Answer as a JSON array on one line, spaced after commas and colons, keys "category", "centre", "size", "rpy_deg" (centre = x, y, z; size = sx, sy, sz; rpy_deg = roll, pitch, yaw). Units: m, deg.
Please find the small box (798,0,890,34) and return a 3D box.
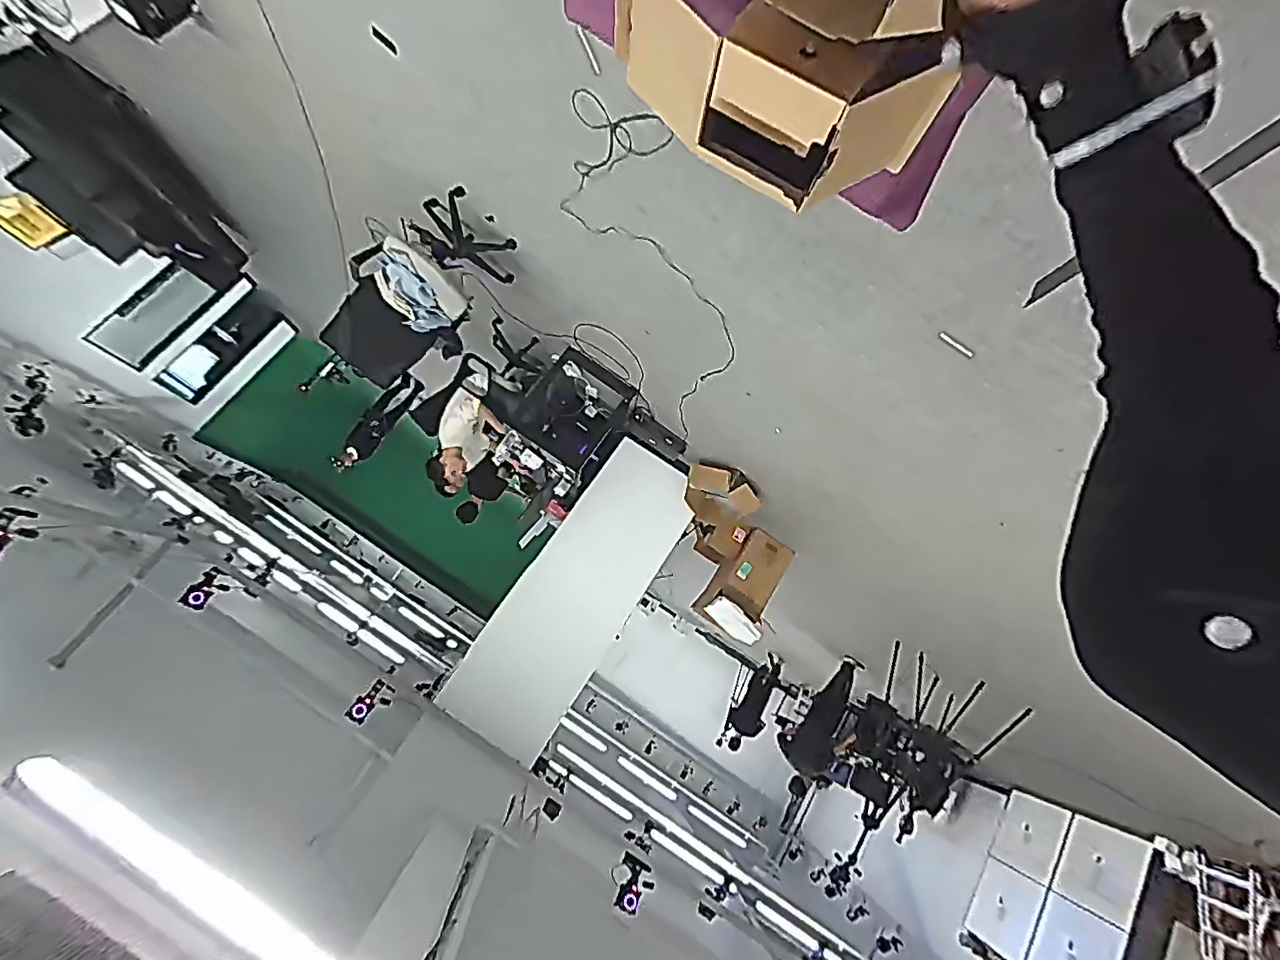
[{"category": "small box", "centre": [0.212, -0.589, 0.508], "size": [0.179, 0.176, 0.168], "rpy_deg": [33, 163, 4]}]
